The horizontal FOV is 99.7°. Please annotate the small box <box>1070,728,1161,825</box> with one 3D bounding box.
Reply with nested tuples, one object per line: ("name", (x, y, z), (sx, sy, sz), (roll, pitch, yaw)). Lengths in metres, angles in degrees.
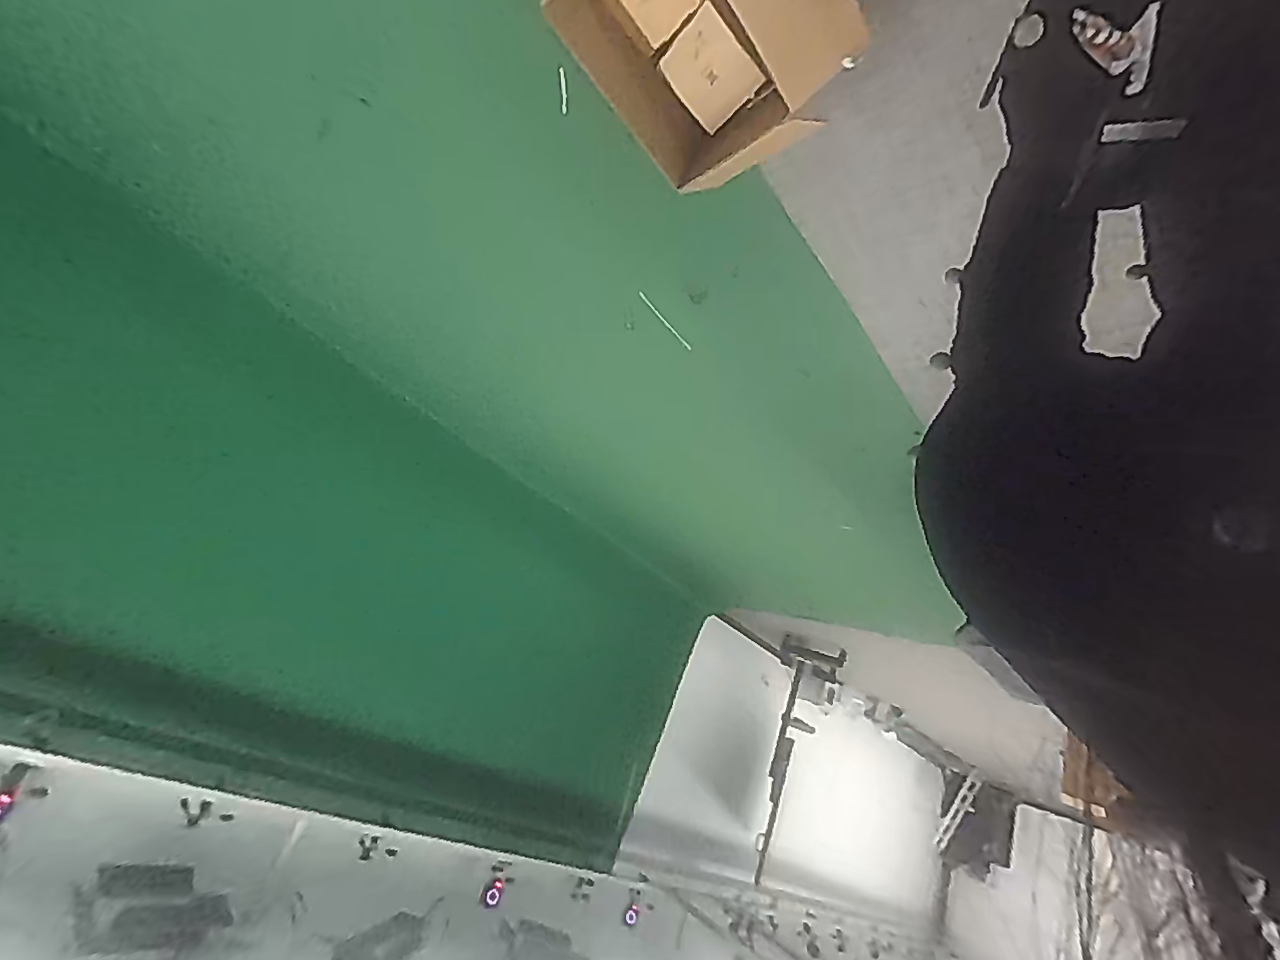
("small box", (1.283, 0.796, 1.462), (0.179, 0.176, 0.168), (5, 151, 42))
